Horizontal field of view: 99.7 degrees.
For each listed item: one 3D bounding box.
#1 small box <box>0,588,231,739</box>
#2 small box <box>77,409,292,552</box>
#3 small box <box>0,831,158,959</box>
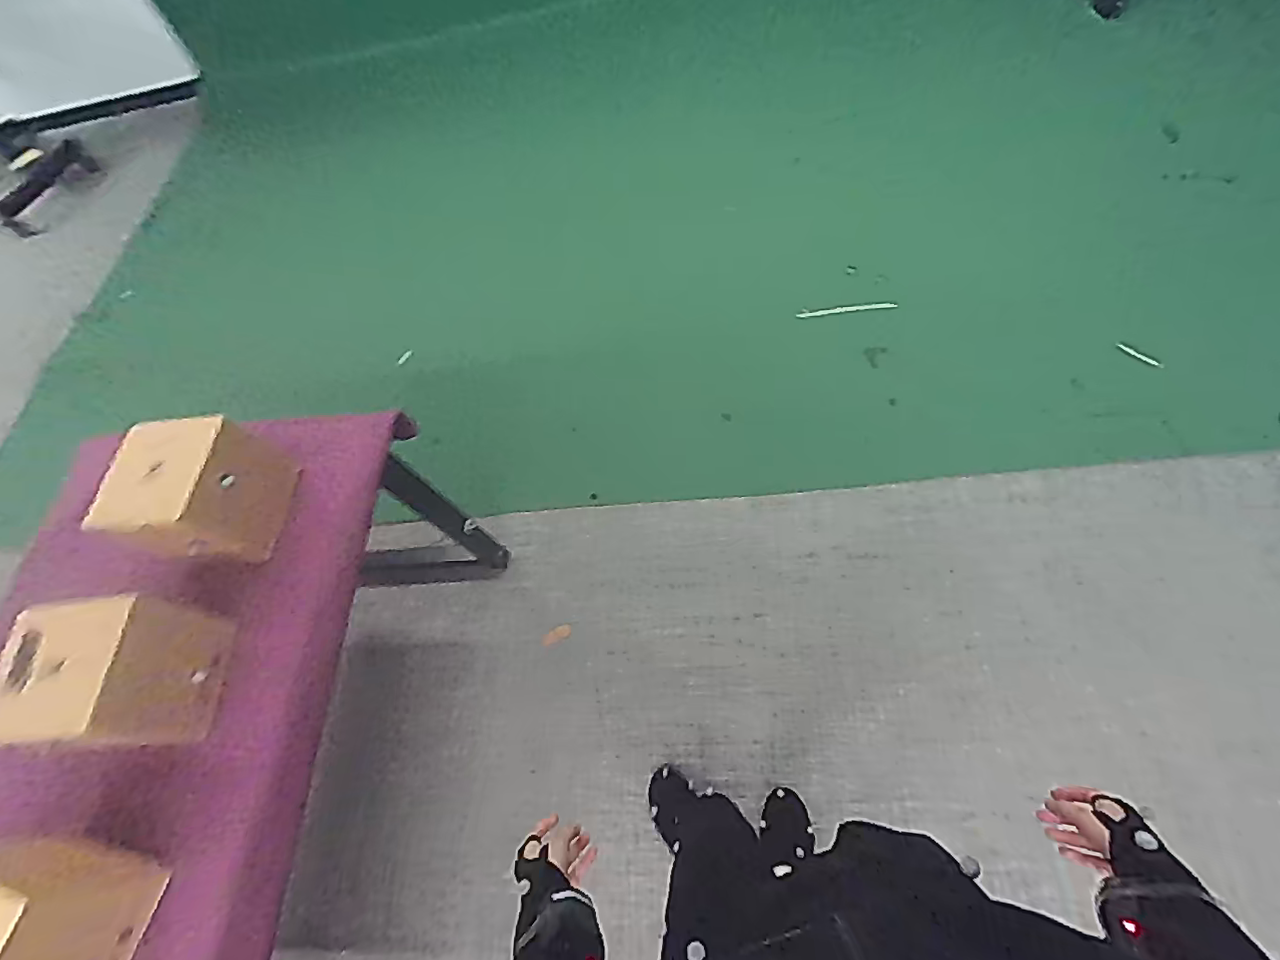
[{"bbox_3d":[-0.717,0.255,0.732,0.179,0.176,0.168,-7,63,6],"label":"small box"},{"bbox_3d":[-0.693,0.010,0.849,0.168,0.176,0.179,-3,63,10],"label":"small box"},{"bbox_3d":[-0.711,0.515,0.603,0.179,0.176,0.168,7,66,14],"label":"small box"}]
